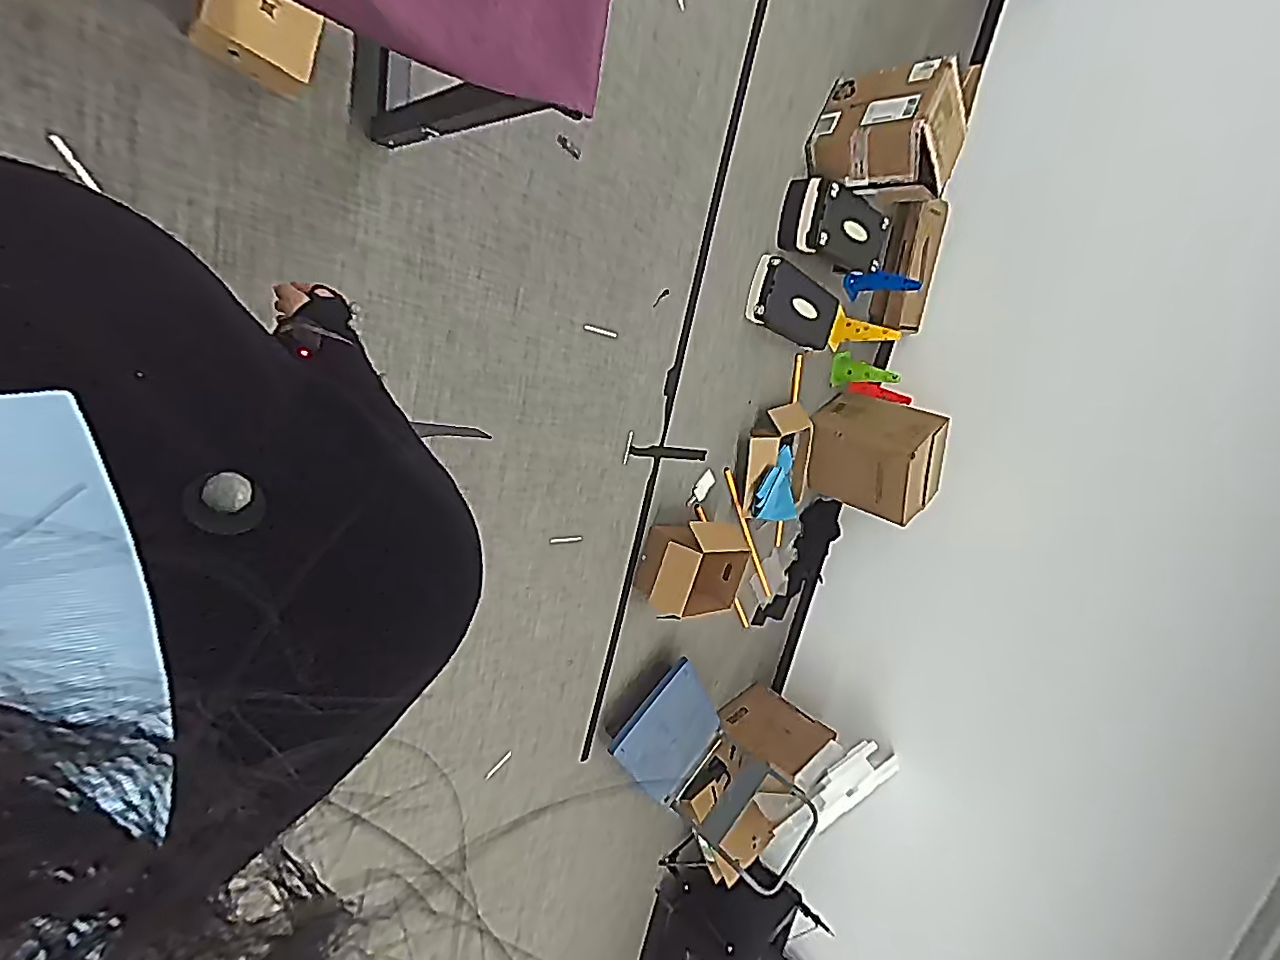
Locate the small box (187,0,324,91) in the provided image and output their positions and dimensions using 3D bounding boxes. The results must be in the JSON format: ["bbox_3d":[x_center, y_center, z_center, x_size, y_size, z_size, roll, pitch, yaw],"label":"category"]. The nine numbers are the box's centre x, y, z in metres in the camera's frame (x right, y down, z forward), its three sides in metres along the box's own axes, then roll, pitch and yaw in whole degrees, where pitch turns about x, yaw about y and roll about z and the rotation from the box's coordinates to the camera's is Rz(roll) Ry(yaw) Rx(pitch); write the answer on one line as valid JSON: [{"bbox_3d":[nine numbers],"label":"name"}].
[{"bbox_3d":[-0.723,-0.874,1.013,0.168,0.176,0.179,12,99,-48],"label":"small box"}]
